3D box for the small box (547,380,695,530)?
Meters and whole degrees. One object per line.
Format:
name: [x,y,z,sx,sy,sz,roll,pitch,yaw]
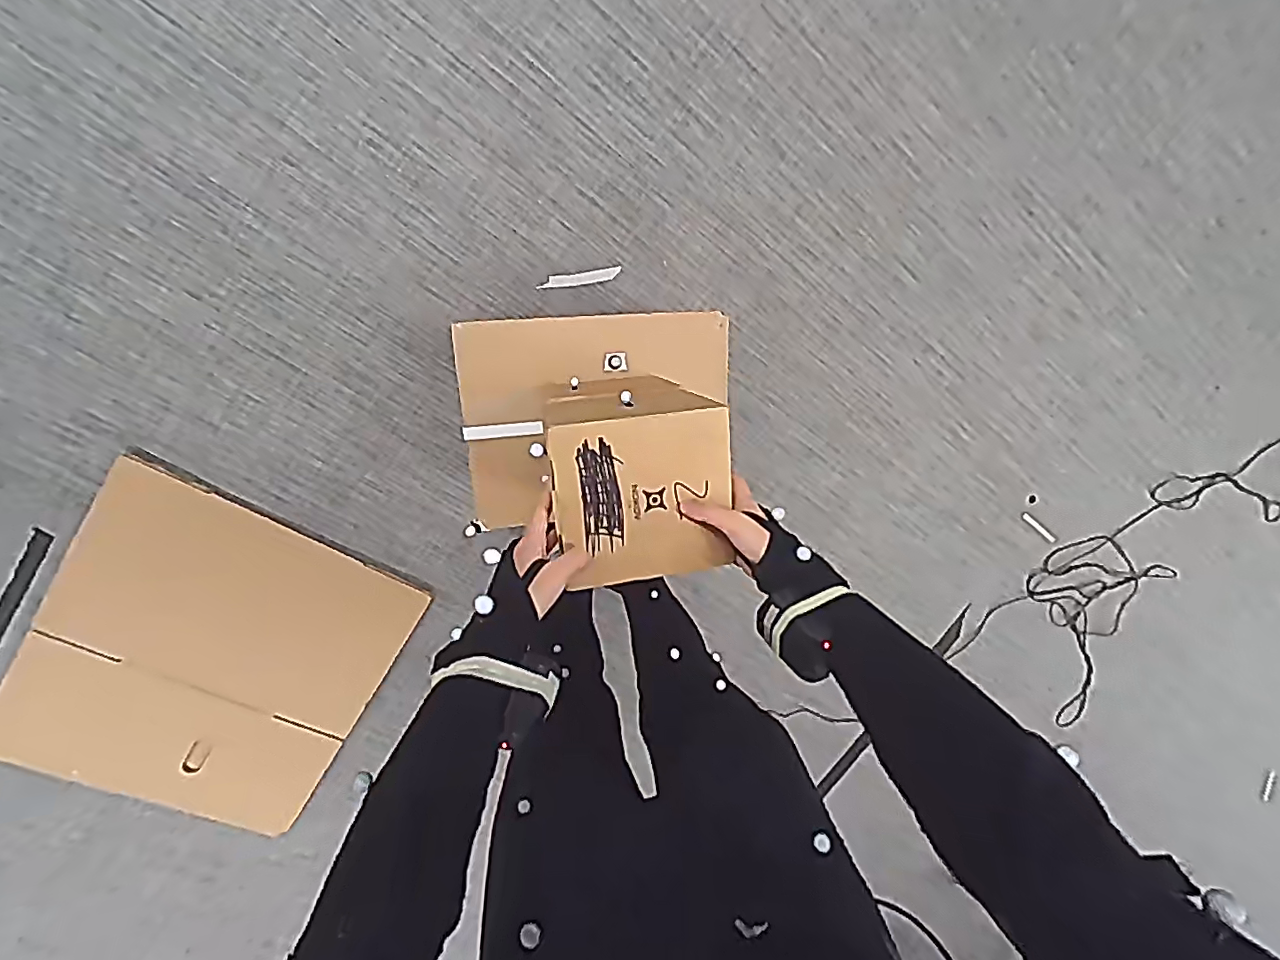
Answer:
small box: [-0.034,-0.044,0.750,0.179,0.176,0.168,-8,107,-10]
